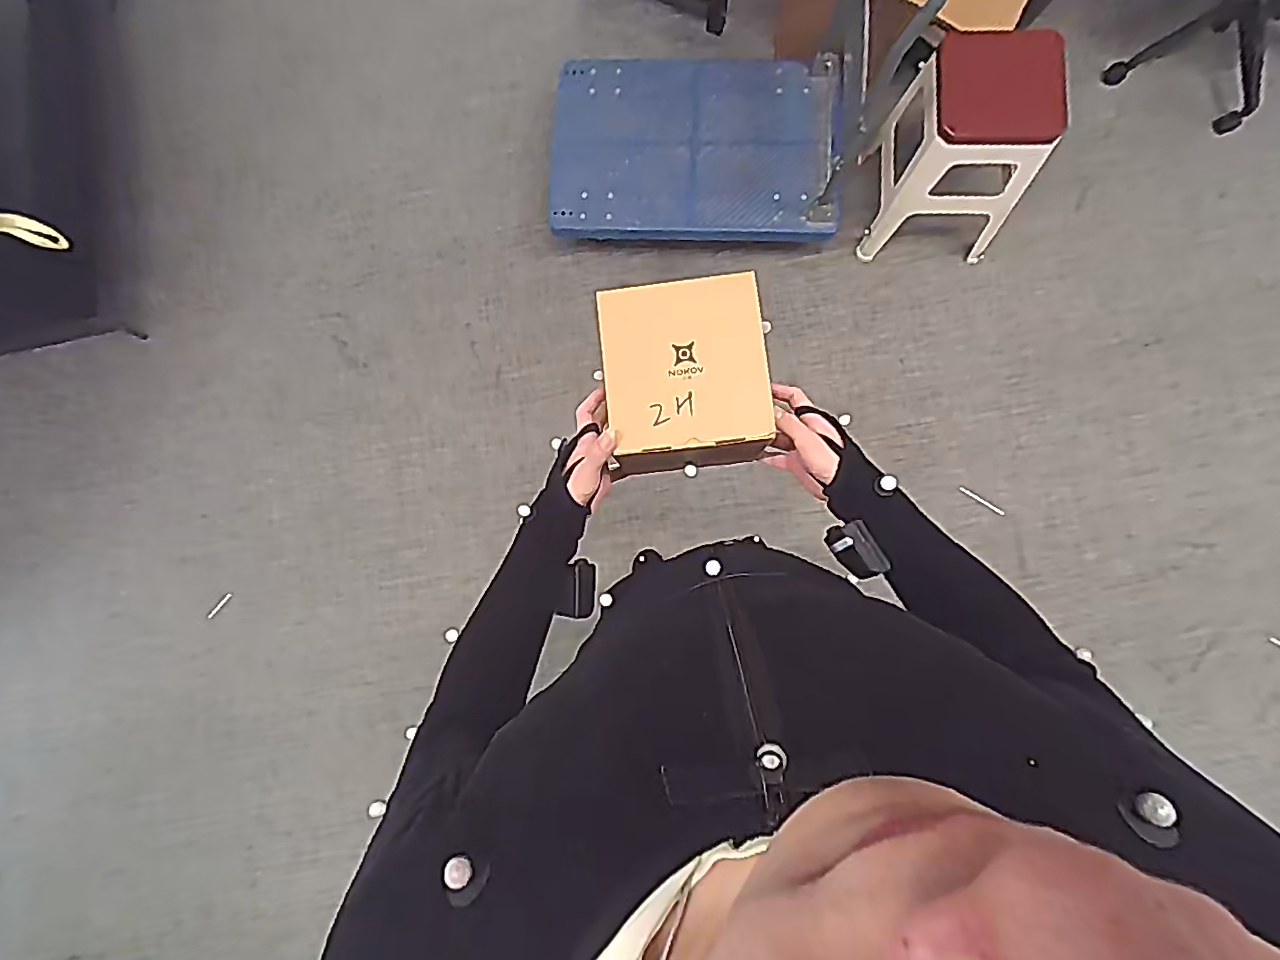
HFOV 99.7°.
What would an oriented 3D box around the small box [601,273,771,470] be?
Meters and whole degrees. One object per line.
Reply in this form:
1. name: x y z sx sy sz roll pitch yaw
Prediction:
1. small box: 0.050 -0.114 0.633 0.168 0.176 0.179 -5 84 4
